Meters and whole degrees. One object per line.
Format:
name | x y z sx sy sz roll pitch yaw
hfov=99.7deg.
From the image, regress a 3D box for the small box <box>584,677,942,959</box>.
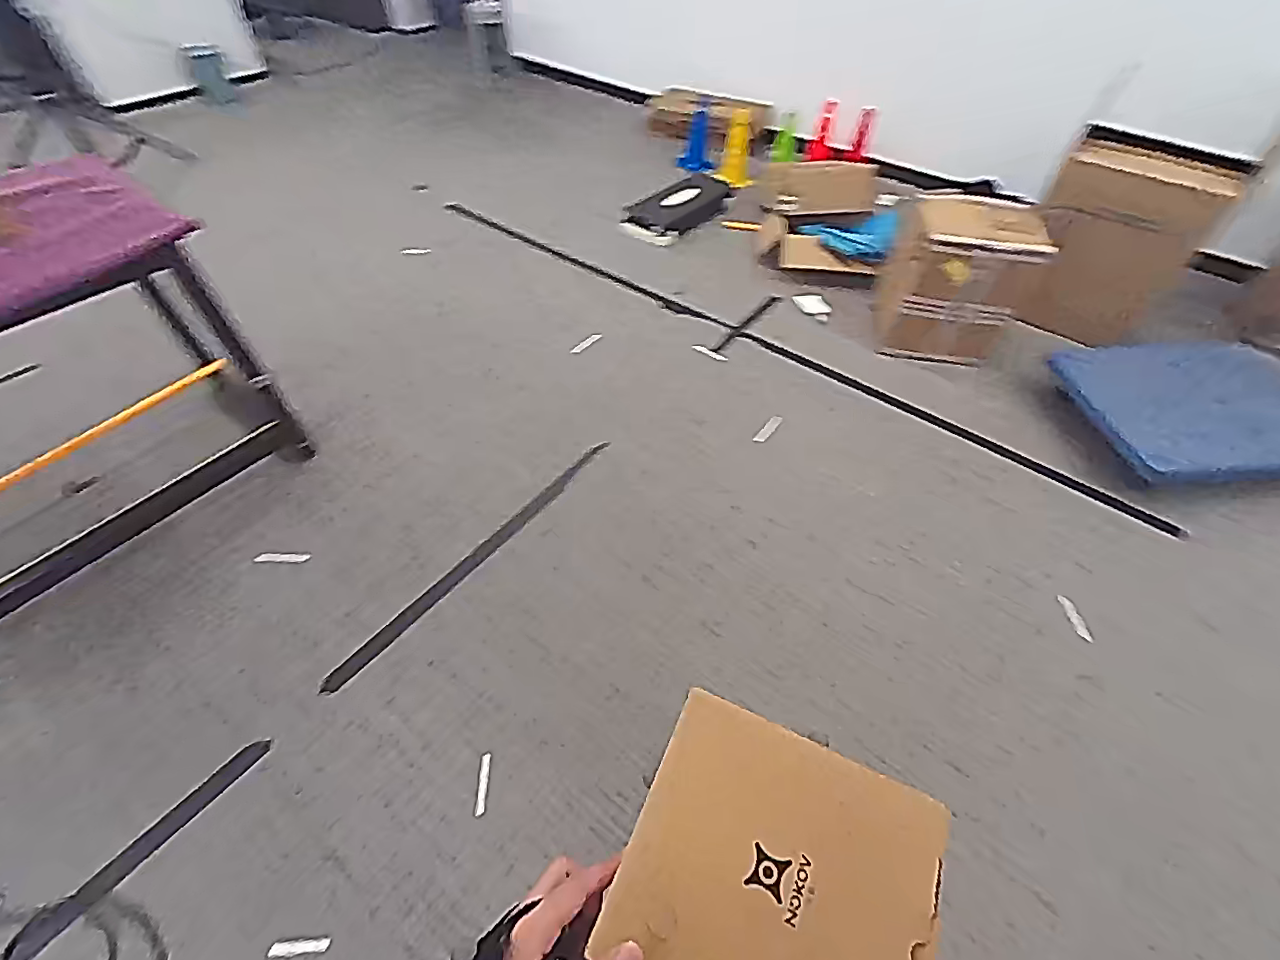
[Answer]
small box | 0.083 0.274 0.386 0.179 0.176 0.168 19 58 16
